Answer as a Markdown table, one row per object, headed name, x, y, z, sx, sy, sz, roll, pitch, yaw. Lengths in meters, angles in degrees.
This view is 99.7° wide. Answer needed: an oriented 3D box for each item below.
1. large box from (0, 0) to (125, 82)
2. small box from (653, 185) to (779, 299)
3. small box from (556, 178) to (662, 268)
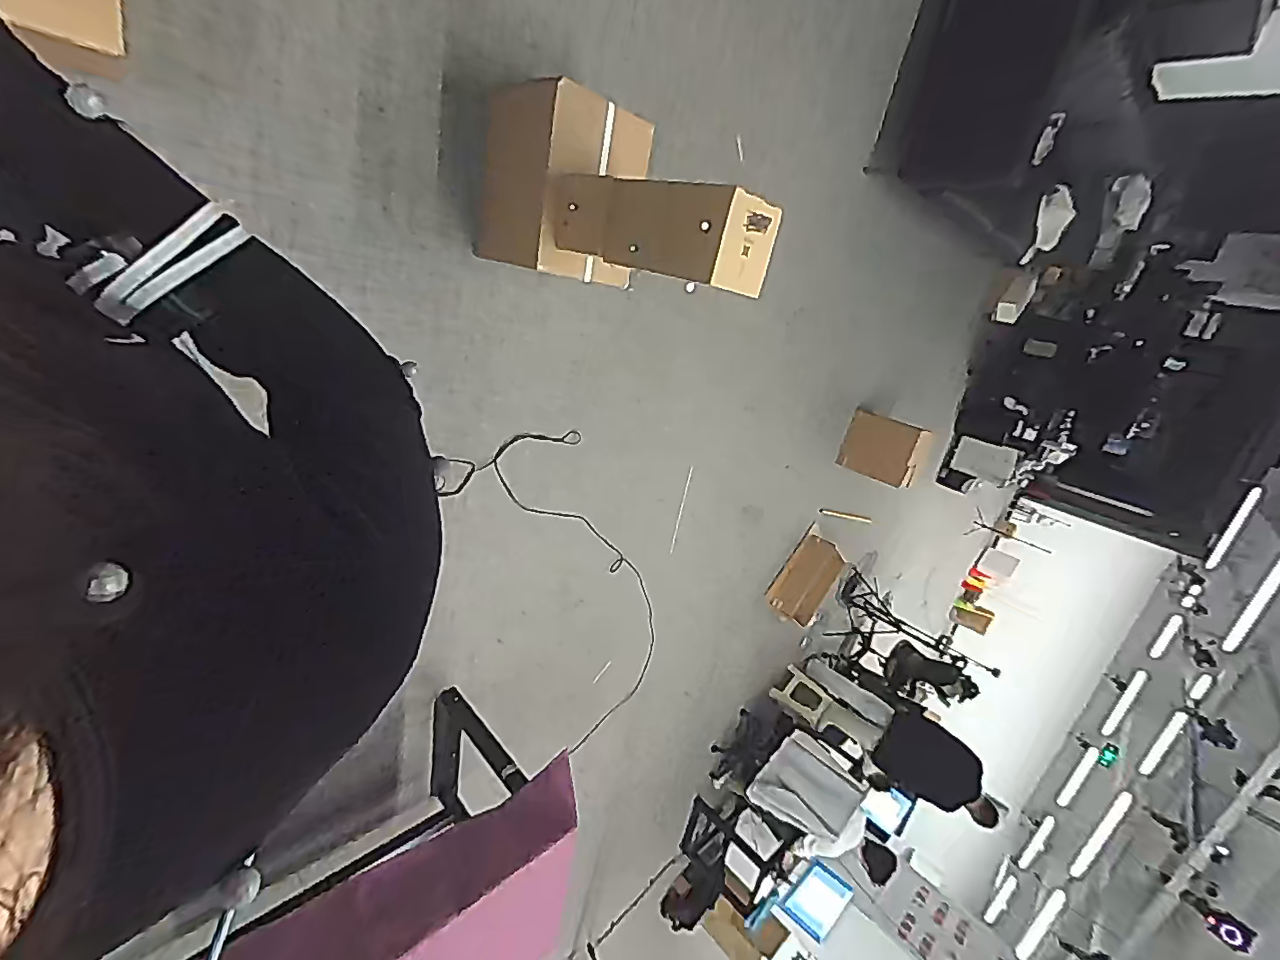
| name | x | y | z | sx | sy | sz | roll | pitch | yaw |
| --- | --- | --- | --- | --- | --- | --- | --- | --- | --- |
| large box | -0.897 | -0.802 | 0.679 | 0.320 | 0.320 | 0.408 | -9 | 117 | -45 |
| small box | 0.150 | -0.487 | 1.108 | 0.168 | 0.176 | 0.179 | -7 | 118 | -45 |
| small box | -0.077 | -0.622 | 1.306 | 0.179 | 0.176 | 0.168 | -10 | 120 | -43 |
